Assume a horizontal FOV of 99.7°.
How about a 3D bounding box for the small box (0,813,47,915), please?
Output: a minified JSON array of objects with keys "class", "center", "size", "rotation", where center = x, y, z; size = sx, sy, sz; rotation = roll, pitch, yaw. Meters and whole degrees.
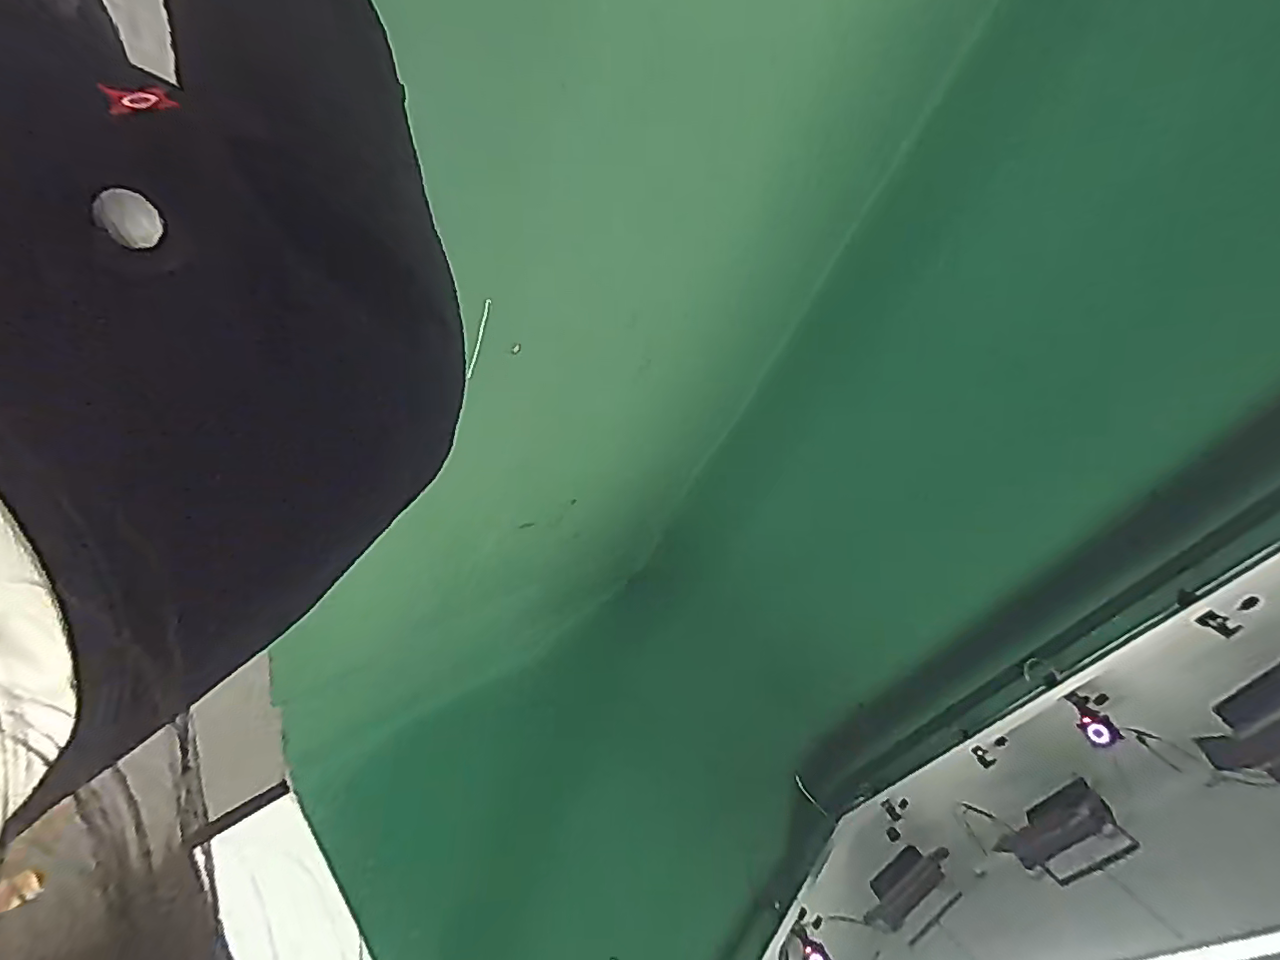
[{"class":"small box","center":[-1.726,1.042,1.435],"size":[0.179,0.176,0.168],"rotation":[-16,139,-51]}]
